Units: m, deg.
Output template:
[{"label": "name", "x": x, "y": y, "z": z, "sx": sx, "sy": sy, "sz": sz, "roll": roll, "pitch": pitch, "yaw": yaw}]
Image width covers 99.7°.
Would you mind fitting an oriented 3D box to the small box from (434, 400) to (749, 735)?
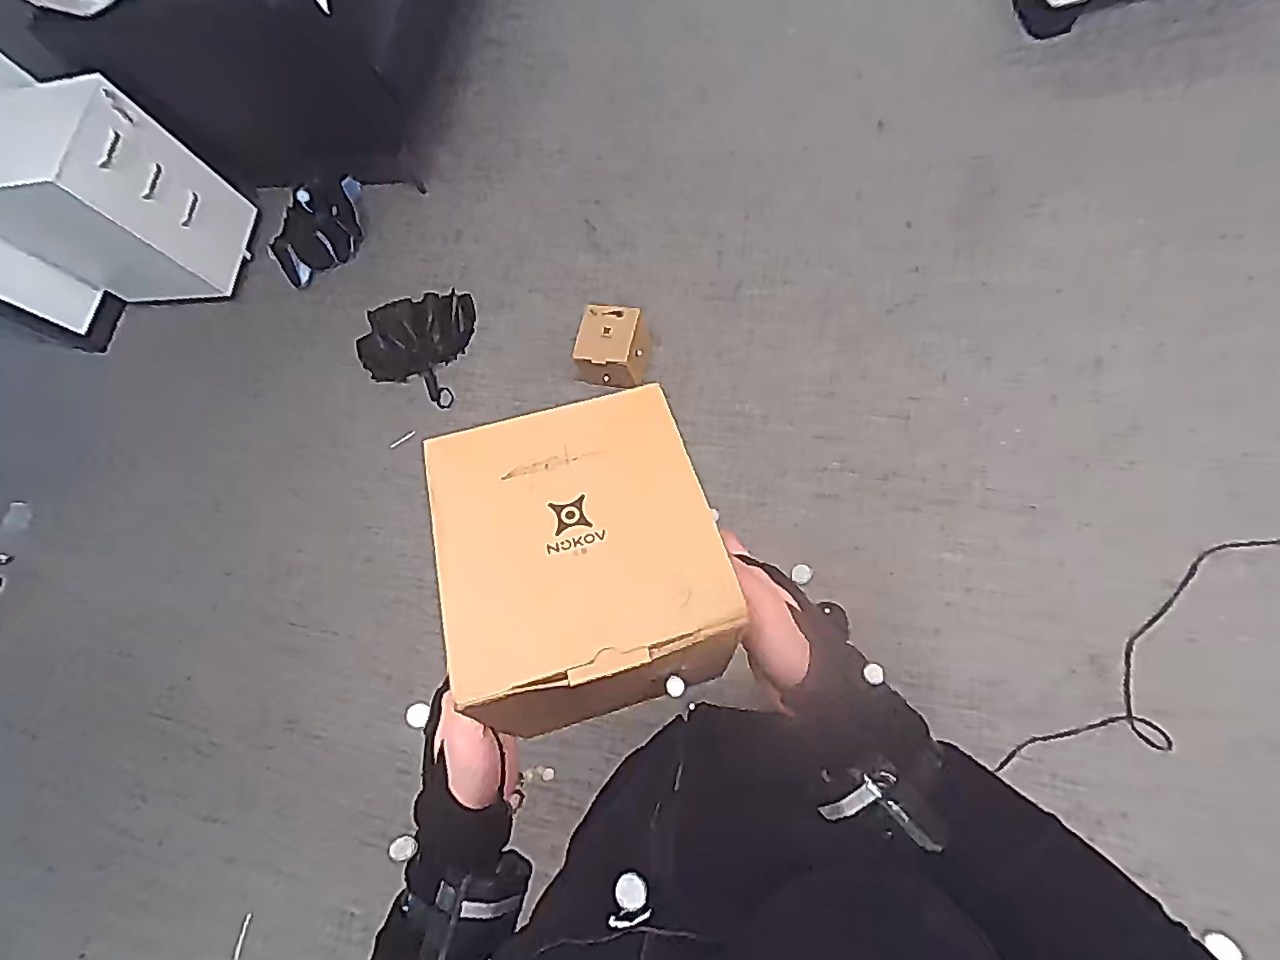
[{"label": "small box", "x": -0.036, "y": 0.075, "z": 0.400, "sx": 0.168, "sy": 0.176, "sz": 0.179, "roll": -15, "pitch": 59, "yaw": -8}]
